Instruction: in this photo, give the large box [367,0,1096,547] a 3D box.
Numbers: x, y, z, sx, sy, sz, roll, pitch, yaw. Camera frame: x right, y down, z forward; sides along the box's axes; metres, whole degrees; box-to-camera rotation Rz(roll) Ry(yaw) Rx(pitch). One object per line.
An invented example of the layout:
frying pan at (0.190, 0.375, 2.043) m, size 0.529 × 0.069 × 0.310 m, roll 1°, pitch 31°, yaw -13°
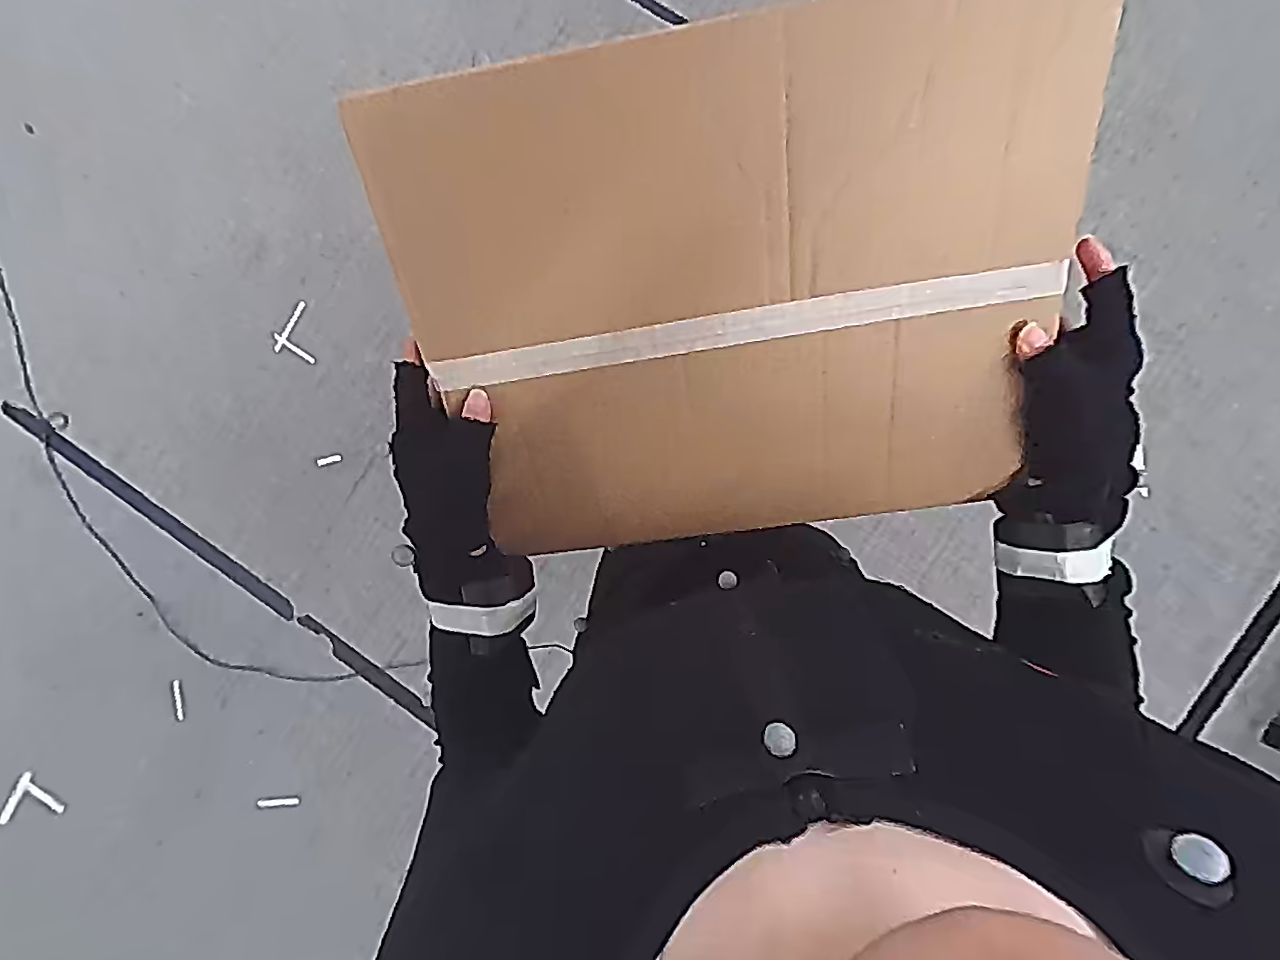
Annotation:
large box at (0.061, -0.172, 0.489) m, size 0.408 × 0.320 × 0.320 m, roll -7°, pitch 119°, yaw 4°
